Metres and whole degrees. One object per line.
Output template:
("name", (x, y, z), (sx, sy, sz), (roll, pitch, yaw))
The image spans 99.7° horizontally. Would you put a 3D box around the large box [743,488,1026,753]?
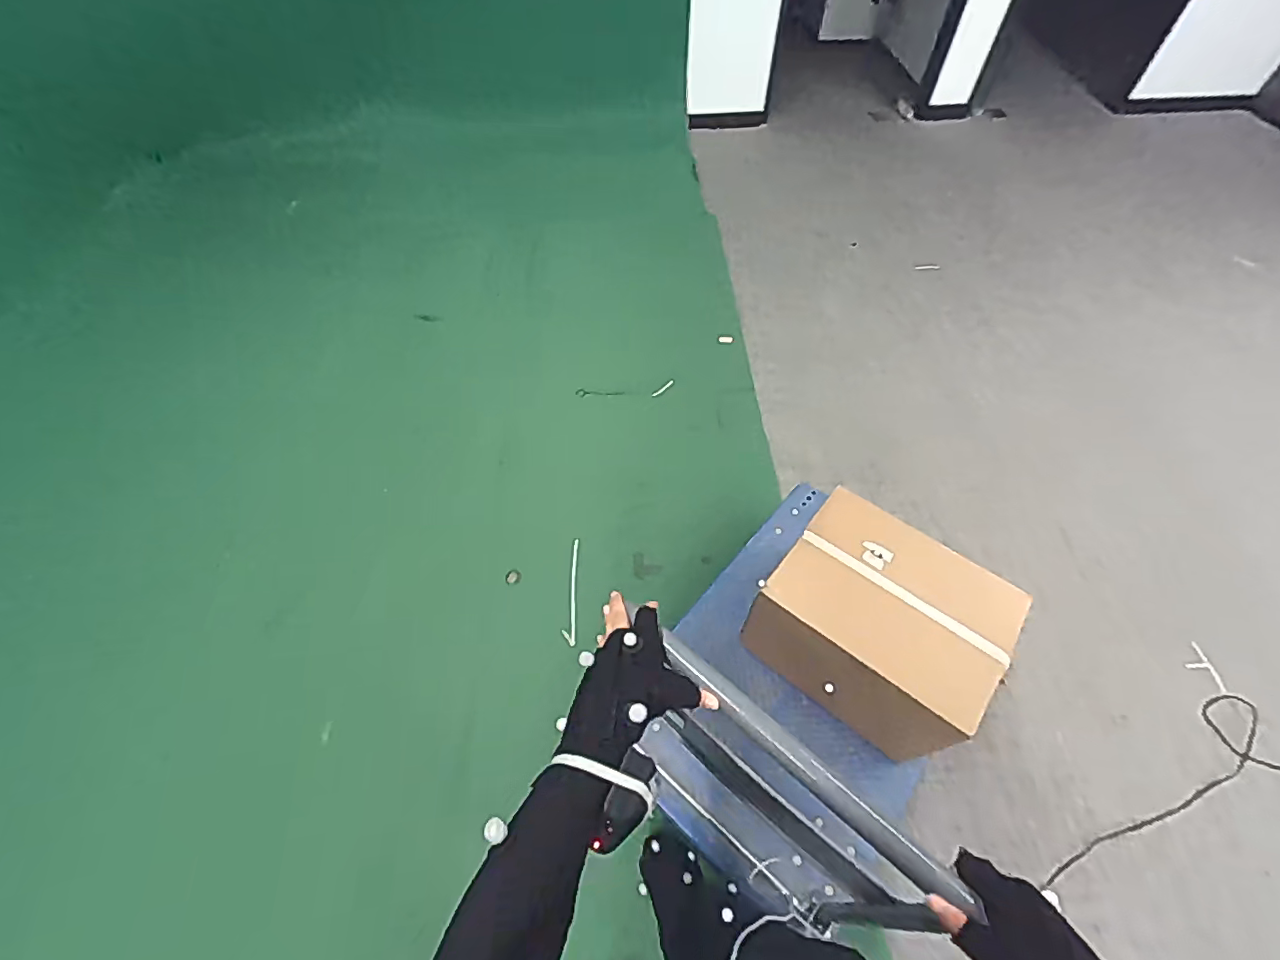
("large box", (0.482, 0.296, 1.141), (0.408, 0.320, 0.320), (33, 62, 22))
